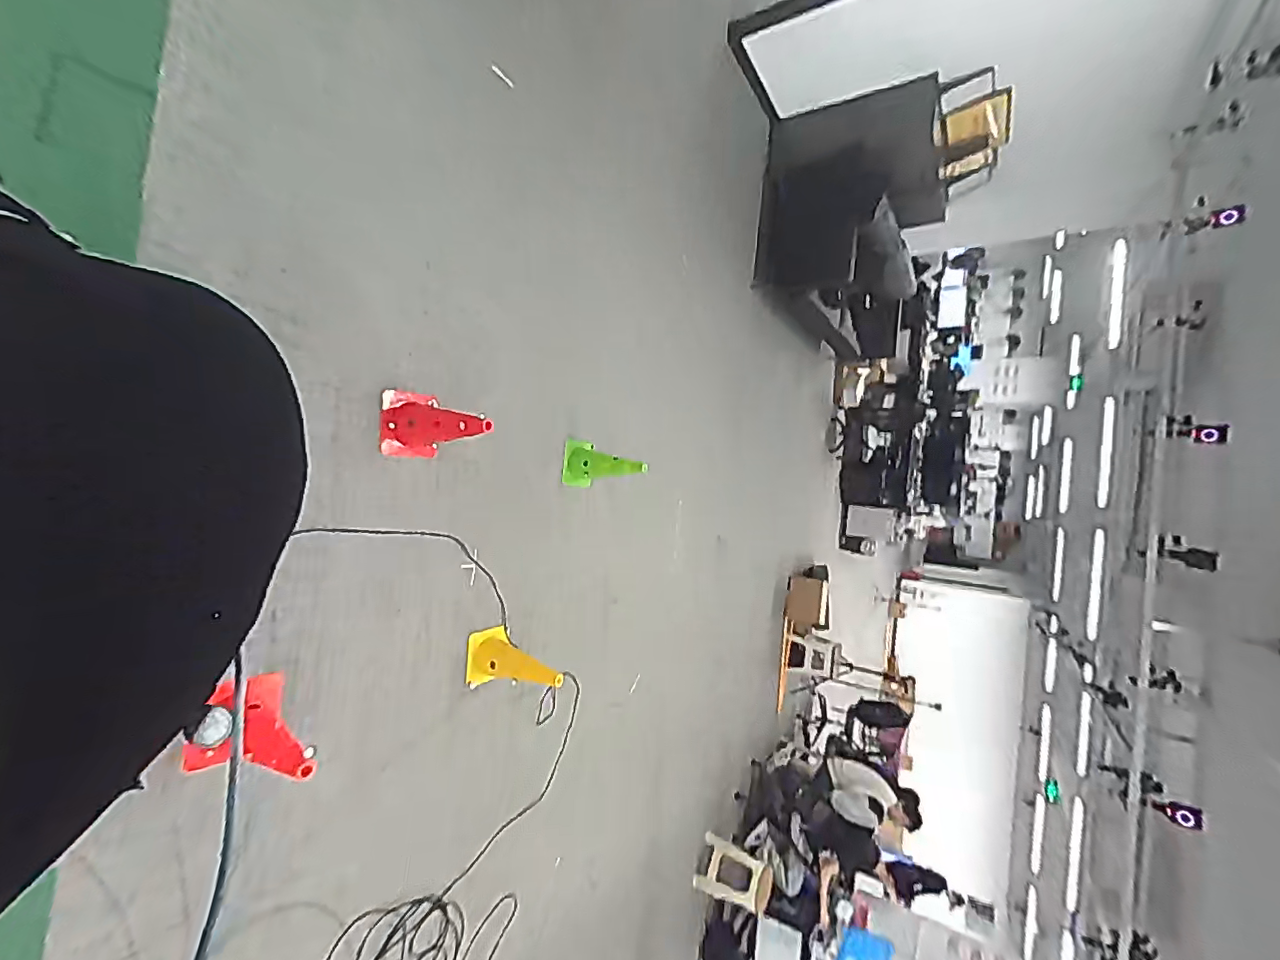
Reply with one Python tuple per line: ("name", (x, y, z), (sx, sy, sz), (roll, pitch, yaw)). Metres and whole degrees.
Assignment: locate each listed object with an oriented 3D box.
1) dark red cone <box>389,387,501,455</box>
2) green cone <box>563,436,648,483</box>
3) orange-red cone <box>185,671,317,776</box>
("dark red cone", (-0.555, -0.166, 1.594), (0.201, 0.394, 0.202), (-2, 96, -56))
("green cone", (-0.127, -0.072, 2.319), (0.200, 0.368, 0.202), (5, 91, -57))
("orange-red cone", (-0.861, 0.604, 1.261), (0.199, 0.360, 0.198), (9, 88, -58))
